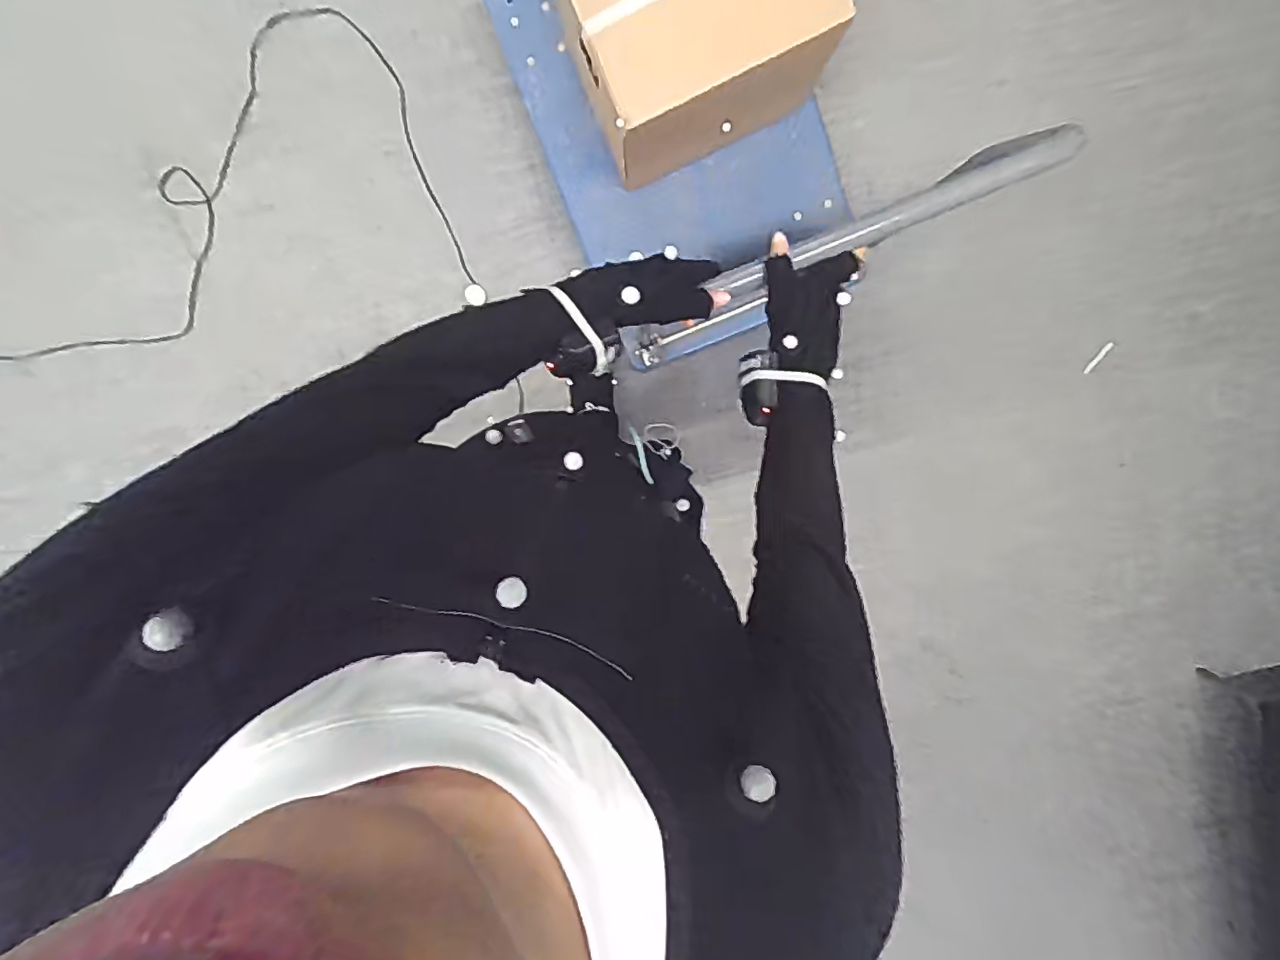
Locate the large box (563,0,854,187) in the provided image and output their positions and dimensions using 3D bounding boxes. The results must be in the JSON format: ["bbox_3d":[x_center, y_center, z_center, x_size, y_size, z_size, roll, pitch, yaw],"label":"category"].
[{"bbox_3d":[0.103,-0.818,0.990,0.408,0.320,0.320,-24,99,6],"label":"large box"}]
